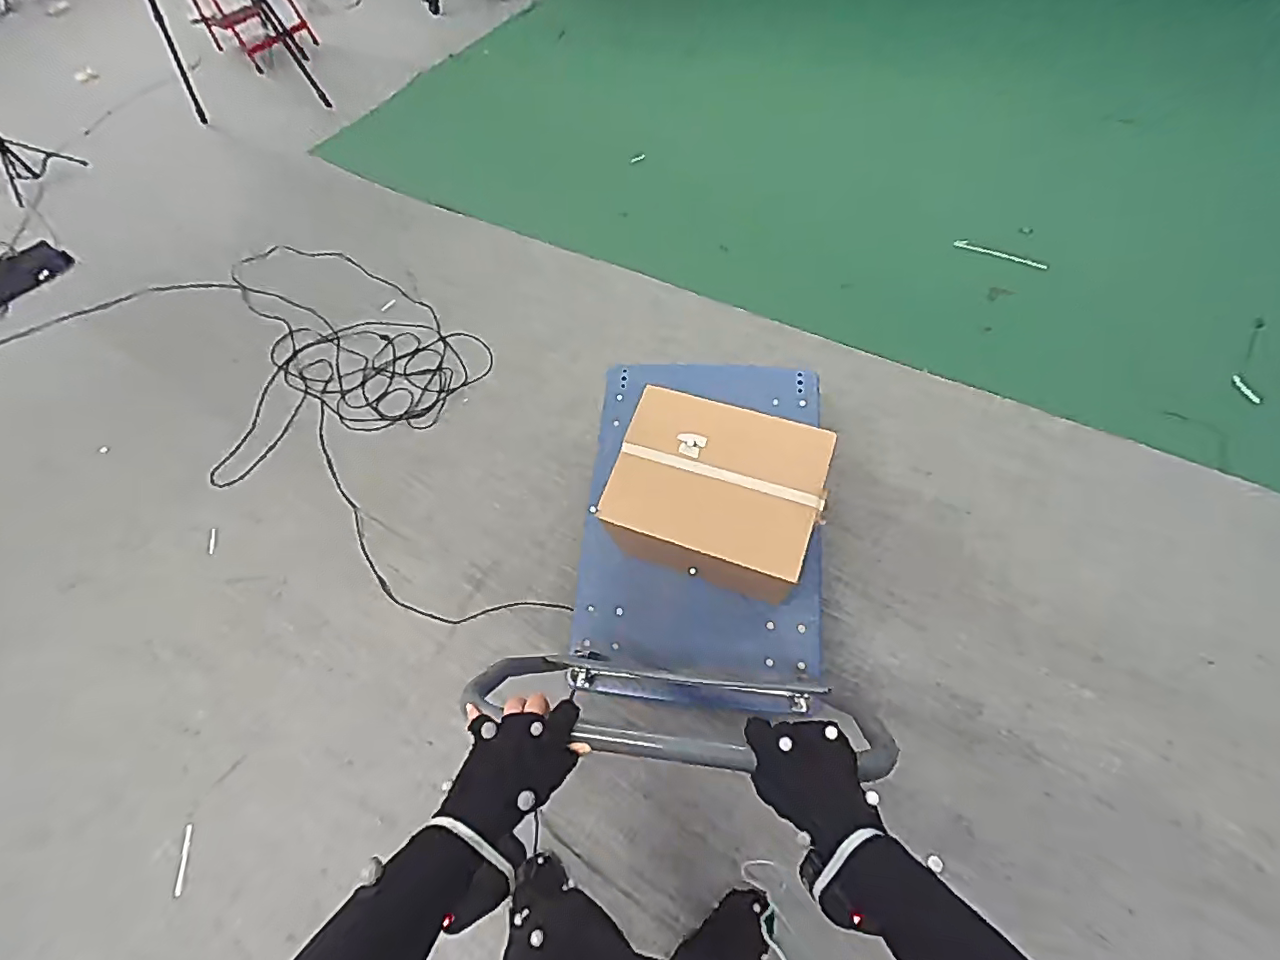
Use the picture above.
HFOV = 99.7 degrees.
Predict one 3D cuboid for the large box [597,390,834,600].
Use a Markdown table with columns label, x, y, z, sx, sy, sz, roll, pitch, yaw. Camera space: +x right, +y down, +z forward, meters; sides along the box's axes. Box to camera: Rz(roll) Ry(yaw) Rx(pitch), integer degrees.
| label | x | y | z | sx | sy | sz | roll | pitch | yaw |
| --- | --- | --- | --- | --- | --- | --- | --- | --- | --- |
| large box | 0.171 | 0.045 | 1.202 | 0.408 | 0.320 | 0.320 | 17 | 73 | 15 |
